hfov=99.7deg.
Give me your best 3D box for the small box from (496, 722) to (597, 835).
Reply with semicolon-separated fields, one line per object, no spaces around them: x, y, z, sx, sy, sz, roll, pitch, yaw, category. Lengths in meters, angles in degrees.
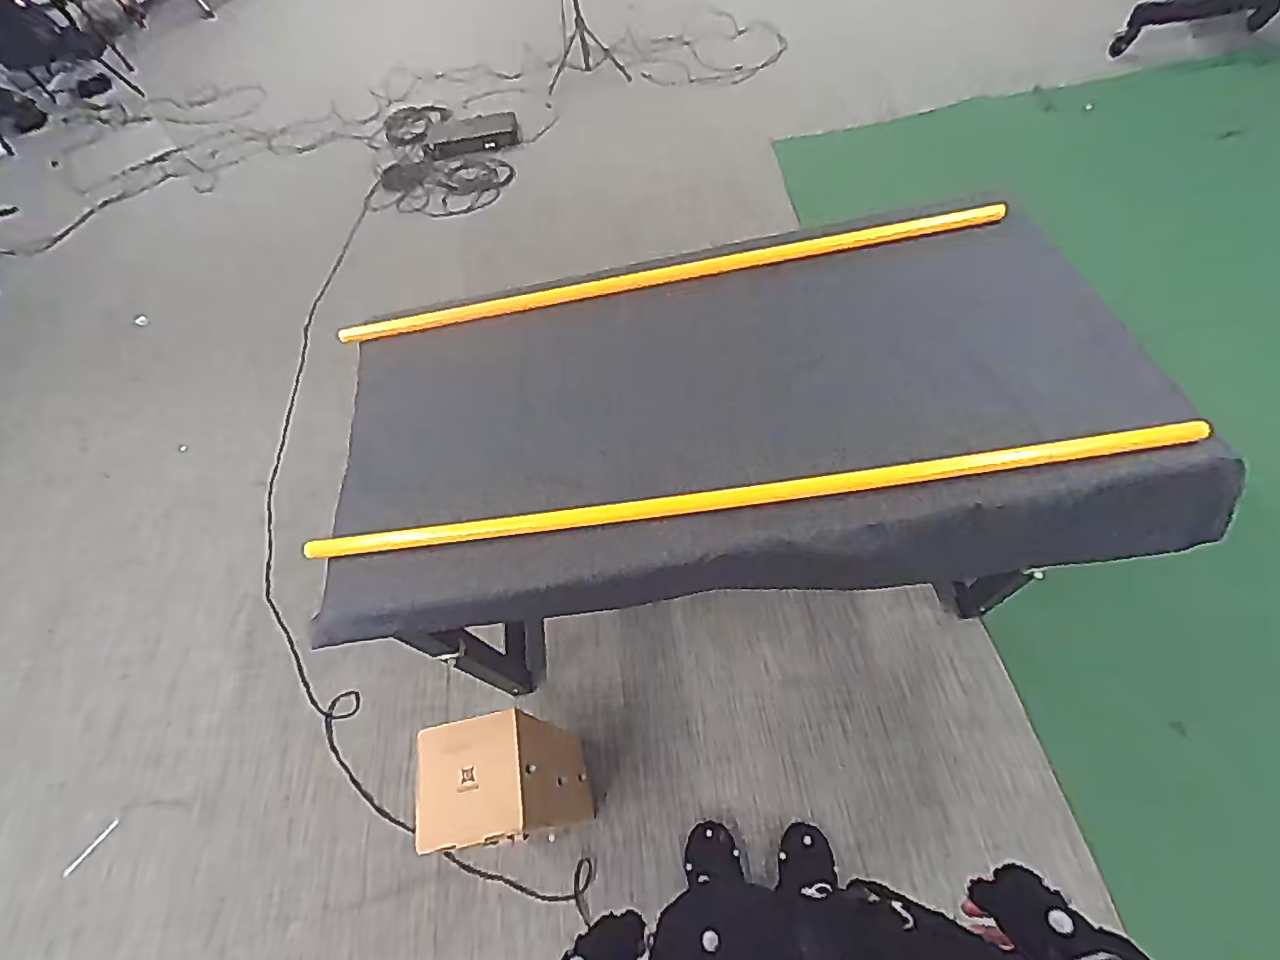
-0.203;0.655;1.189;0.168;0.176;0.179;-17;60;-1;small box
